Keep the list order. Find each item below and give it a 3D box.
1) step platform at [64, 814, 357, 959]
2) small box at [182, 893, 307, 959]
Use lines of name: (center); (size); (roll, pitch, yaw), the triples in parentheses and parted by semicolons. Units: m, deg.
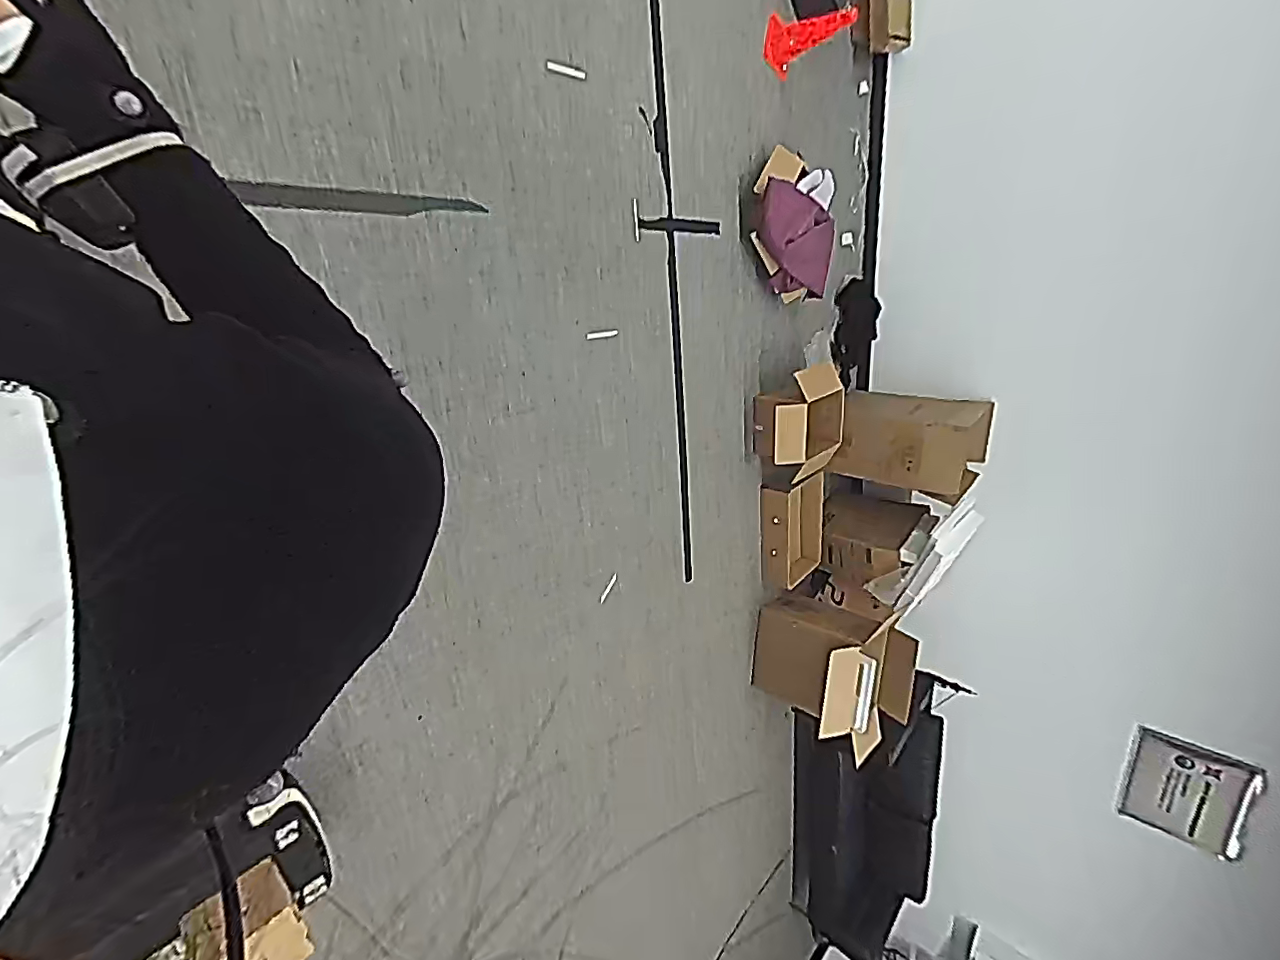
step platform: (-0.944, 1.004, 1.037); (0.684, 0.204, 0.286); (-25, 118, -41)
small box: (-0.859, 0.981, 1.178); (0.179, 0.176, 0.168); (-28, 119, -41)
